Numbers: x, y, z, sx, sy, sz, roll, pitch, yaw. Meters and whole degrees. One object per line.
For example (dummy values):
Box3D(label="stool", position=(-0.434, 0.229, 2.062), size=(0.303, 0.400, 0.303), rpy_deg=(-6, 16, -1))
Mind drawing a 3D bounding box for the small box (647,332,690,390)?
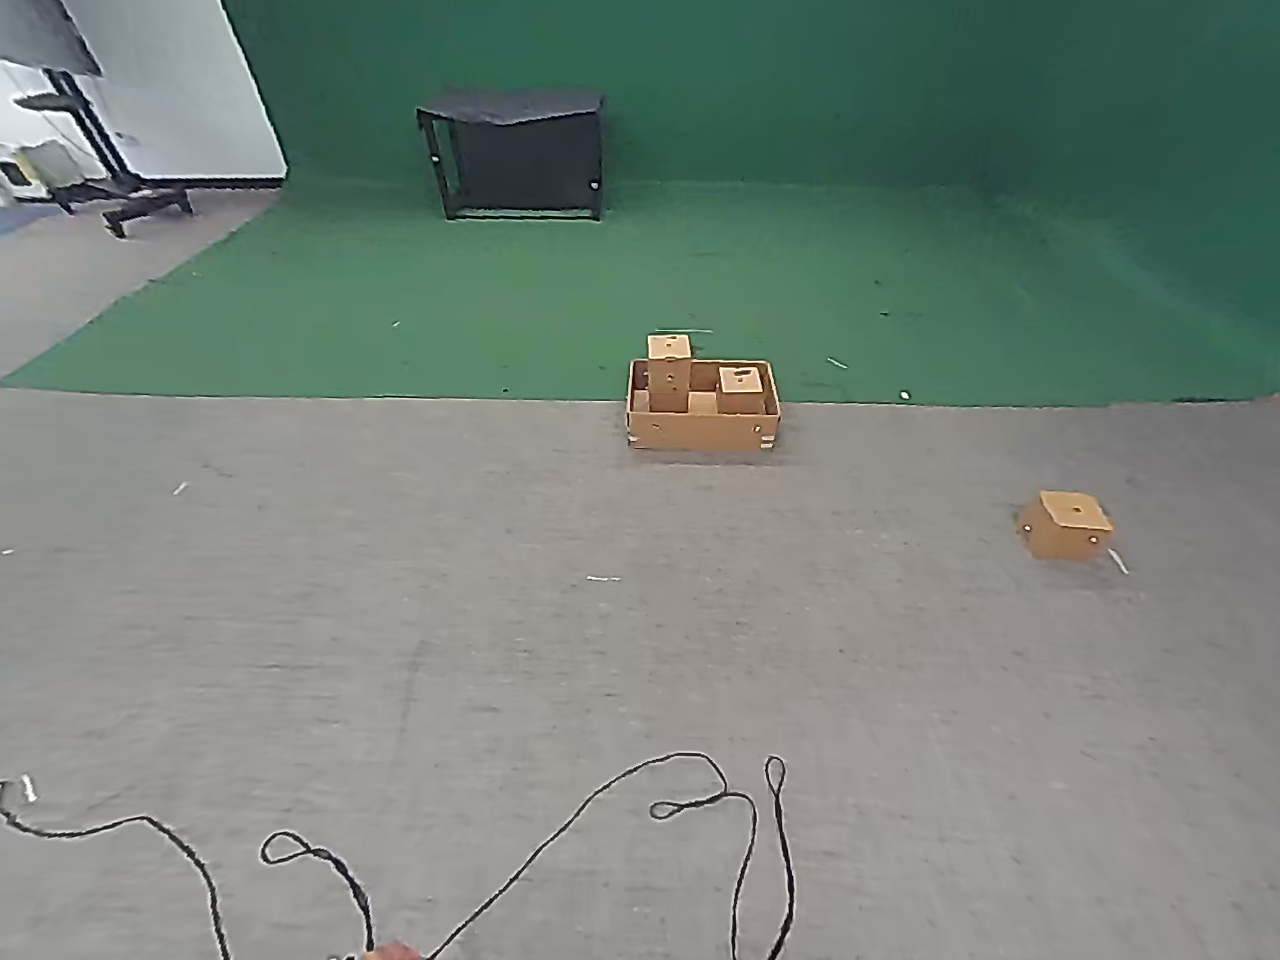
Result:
Box3D(label="small box", position=(0.114, -0.478, 2.188), size=(0.168, 0.176, 0.179), rpy_deg=(-1, 47, 0))

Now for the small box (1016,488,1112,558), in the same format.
Box3D(label="small box", position=(1.442, 0.151, 1.853), size=(0.179, 0.176, 0.168), rpy_deg=(5, 45, 5))

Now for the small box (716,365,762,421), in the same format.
Box3D(label="small box", position=(0.418, -0.372, 2.310), size=(0.168, 0.176, 0.179), rpy_deg=(-1, 47, 1))
